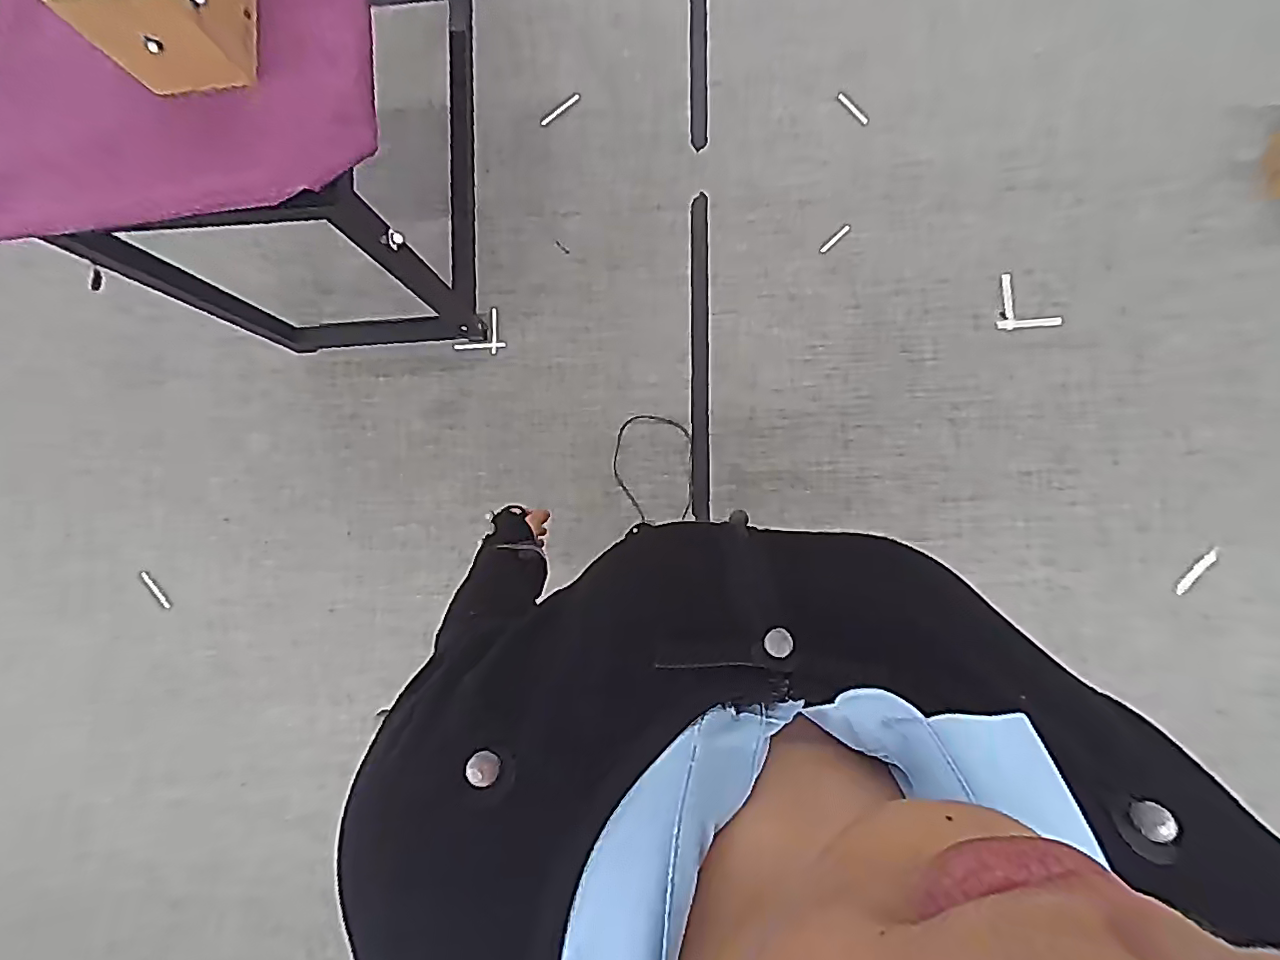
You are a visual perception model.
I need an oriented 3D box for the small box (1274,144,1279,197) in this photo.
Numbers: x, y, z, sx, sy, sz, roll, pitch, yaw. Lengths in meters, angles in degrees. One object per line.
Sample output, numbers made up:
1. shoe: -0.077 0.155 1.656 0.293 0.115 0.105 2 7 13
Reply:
1. small box: 1.825 -0.856 1.407 0.179 0.176 0.168 1 86 3
